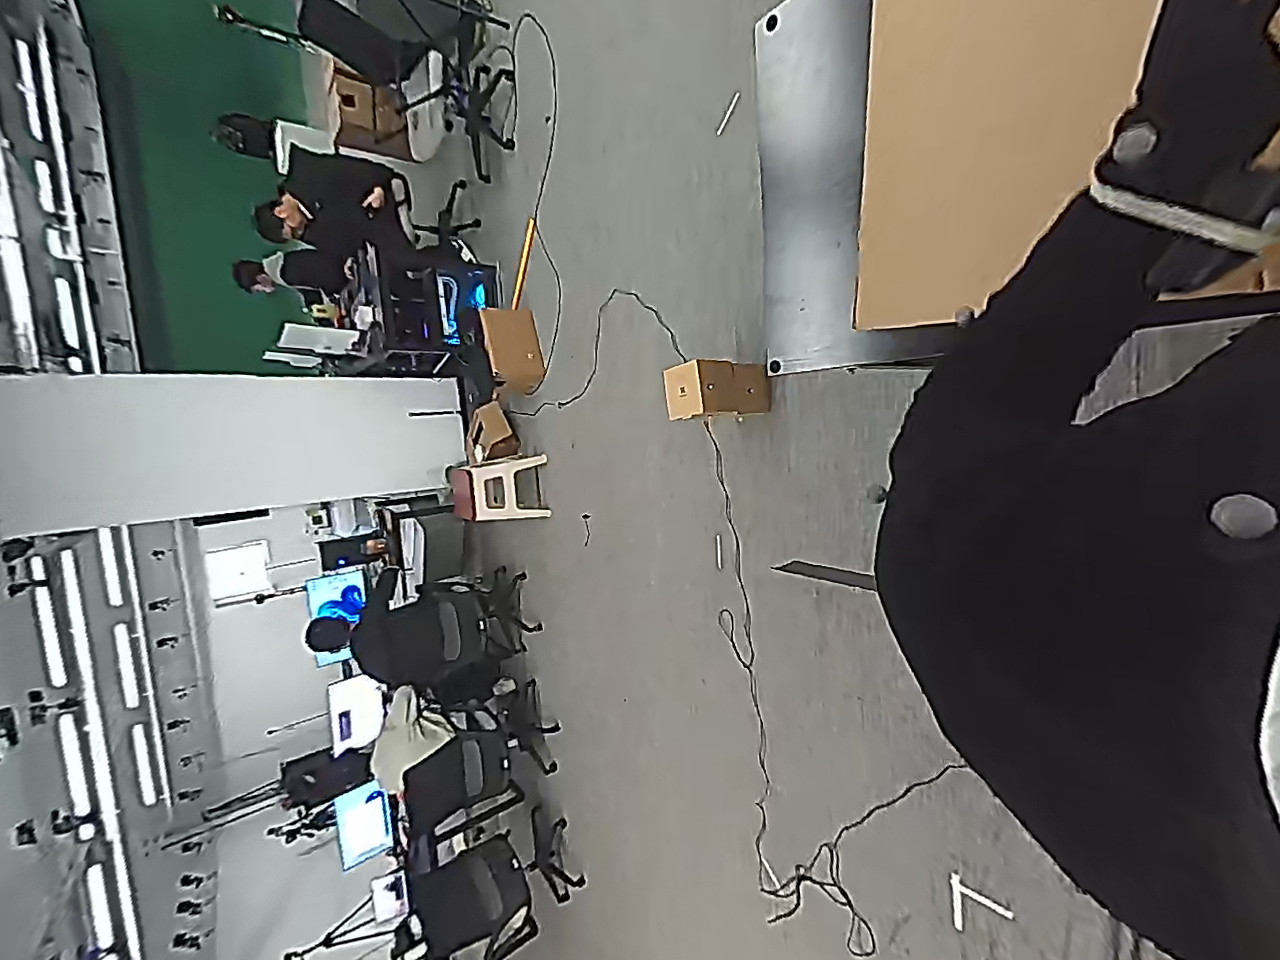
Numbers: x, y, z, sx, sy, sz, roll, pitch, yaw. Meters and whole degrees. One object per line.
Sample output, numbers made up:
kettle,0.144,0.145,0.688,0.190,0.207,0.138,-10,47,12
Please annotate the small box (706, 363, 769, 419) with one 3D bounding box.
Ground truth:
small box,0.339,-0.312,1.916,0.168,0.176,0.179,-2,95,53

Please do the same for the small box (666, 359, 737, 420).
small box,0.210,-0.301,1.818,0.168,0.176,0.179,-6,90,52
